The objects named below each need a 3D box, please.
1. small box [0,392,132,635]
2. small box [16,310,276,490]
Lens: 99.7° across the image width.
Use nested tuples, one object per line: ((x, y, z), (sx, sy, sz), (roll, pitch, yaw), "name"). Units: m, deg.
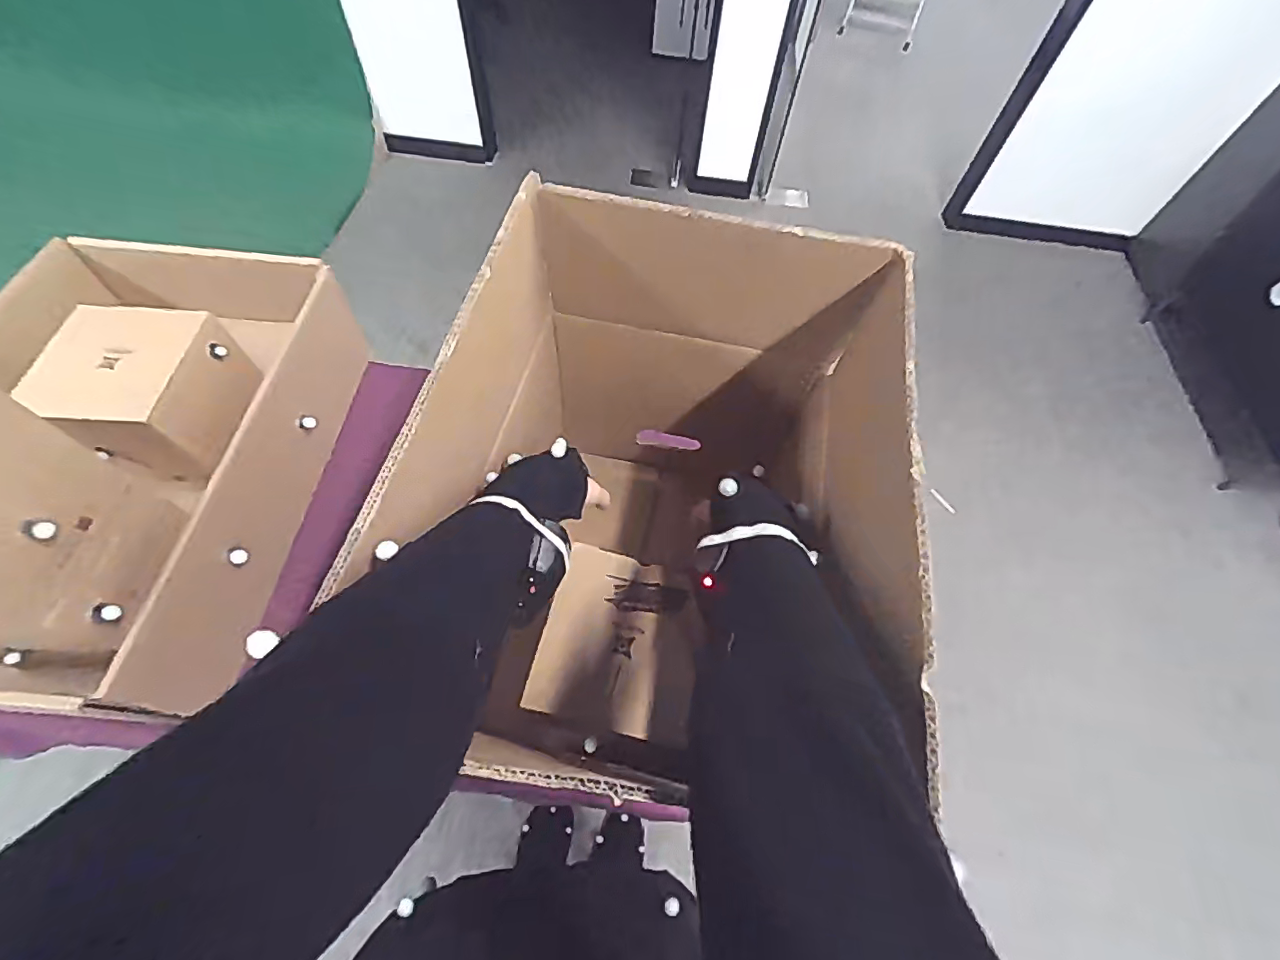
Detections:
((-0.611, 0.024, 0.454), (0.179, 0.176, 0.168), (5, 60, 0), "small box")
((-0.630, -0.099, 0.718), (0.168, 0.176, 0.179), (2, 60, -1), "small box")
